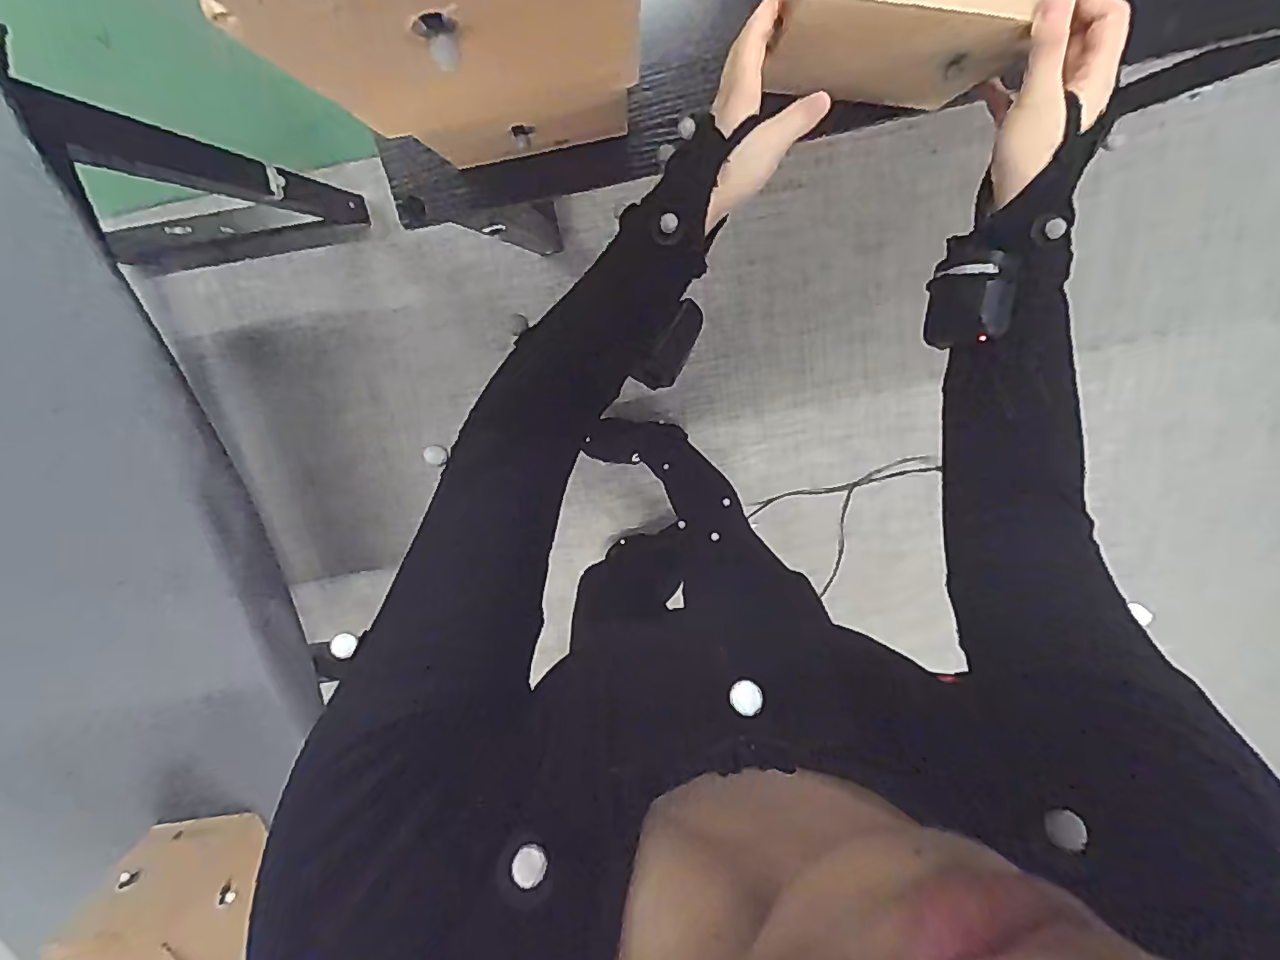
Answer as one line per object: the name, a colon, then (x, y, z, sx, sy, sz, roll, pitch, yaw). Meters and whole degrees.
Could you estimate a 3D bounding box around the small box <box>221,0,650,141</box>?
small box: (-0.091, -0.290, 0.260, 0.179, 0.176, 0.168, -10, 109, 4)

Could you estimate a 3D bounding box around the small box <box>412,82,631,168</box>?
small box: (-0.101, -0.356, 0.410, 0.168, 0.176, 0.179, -10, 108, 3)

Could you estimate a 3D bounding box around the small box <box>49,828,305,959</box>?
small box: (-0.607, 0.607, 0.737, 0.168, 0.176, 0.179, -10, 109, 6)

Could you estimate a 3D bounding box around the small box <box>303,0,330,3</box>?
small box: (-0.082, -0.239, 0.105, 0.168, 0.176, 0.179, -9, 109, 4)
